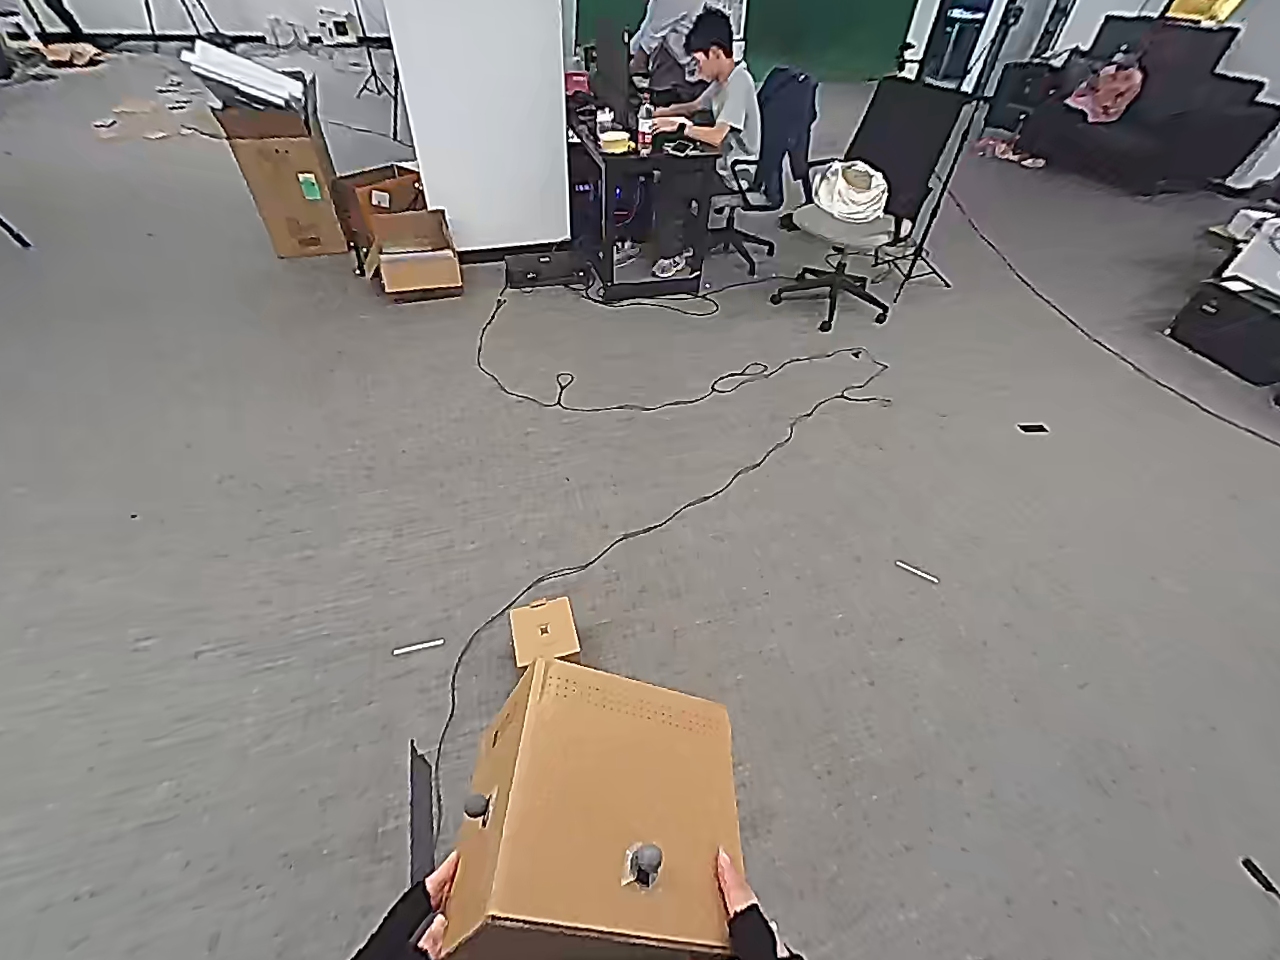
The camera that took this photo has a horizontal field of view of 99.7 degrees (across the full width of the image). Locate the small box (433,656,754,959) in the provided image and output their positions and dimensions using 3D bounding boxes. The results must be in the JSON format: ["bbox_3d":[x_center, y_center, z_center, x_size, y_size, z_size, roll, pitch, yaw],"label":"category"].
[{"bbox_3d":[-0.037,0.266,0.432,0.179,0.168,0.176,21,37,-16],"label":"small box"}]

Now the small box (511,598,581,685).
[{"bbox_3d":[-0.257,0.459,1.498,0.168,0.176,0.179,-10,48,-12],"label":"small box"}]
